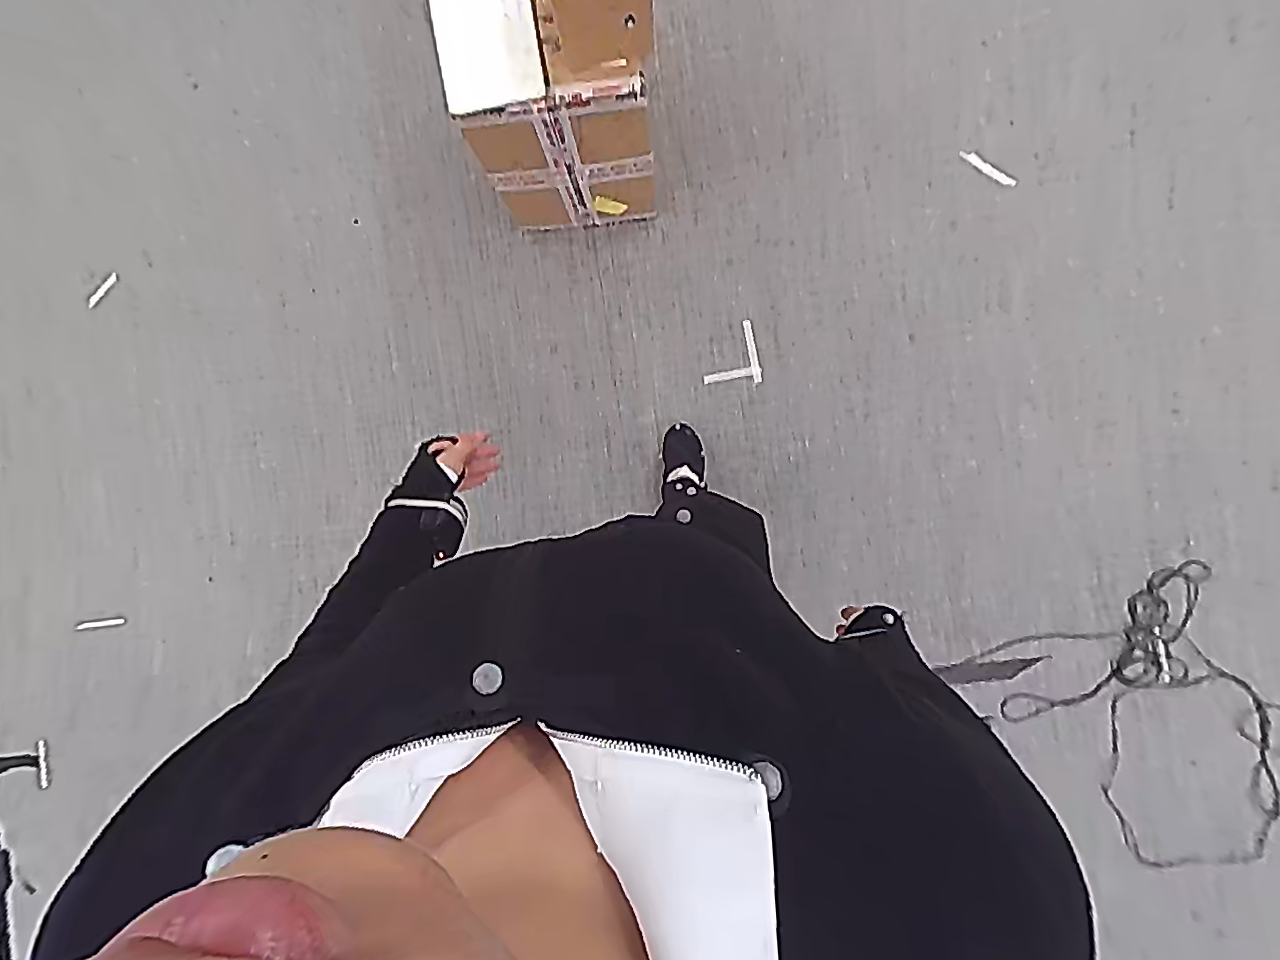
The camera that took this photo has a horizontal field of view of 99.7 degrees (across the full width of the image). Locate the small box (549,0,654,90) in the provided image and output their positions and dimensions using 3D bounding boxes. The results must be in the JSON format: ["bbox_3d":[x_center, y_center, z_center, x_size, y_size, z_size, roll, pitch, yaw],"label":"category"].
[{"bbox_3d":[-0.071,-0.864,0.991,0.179,0.176,0.168,-10,88,3],"label":"small box"}]
